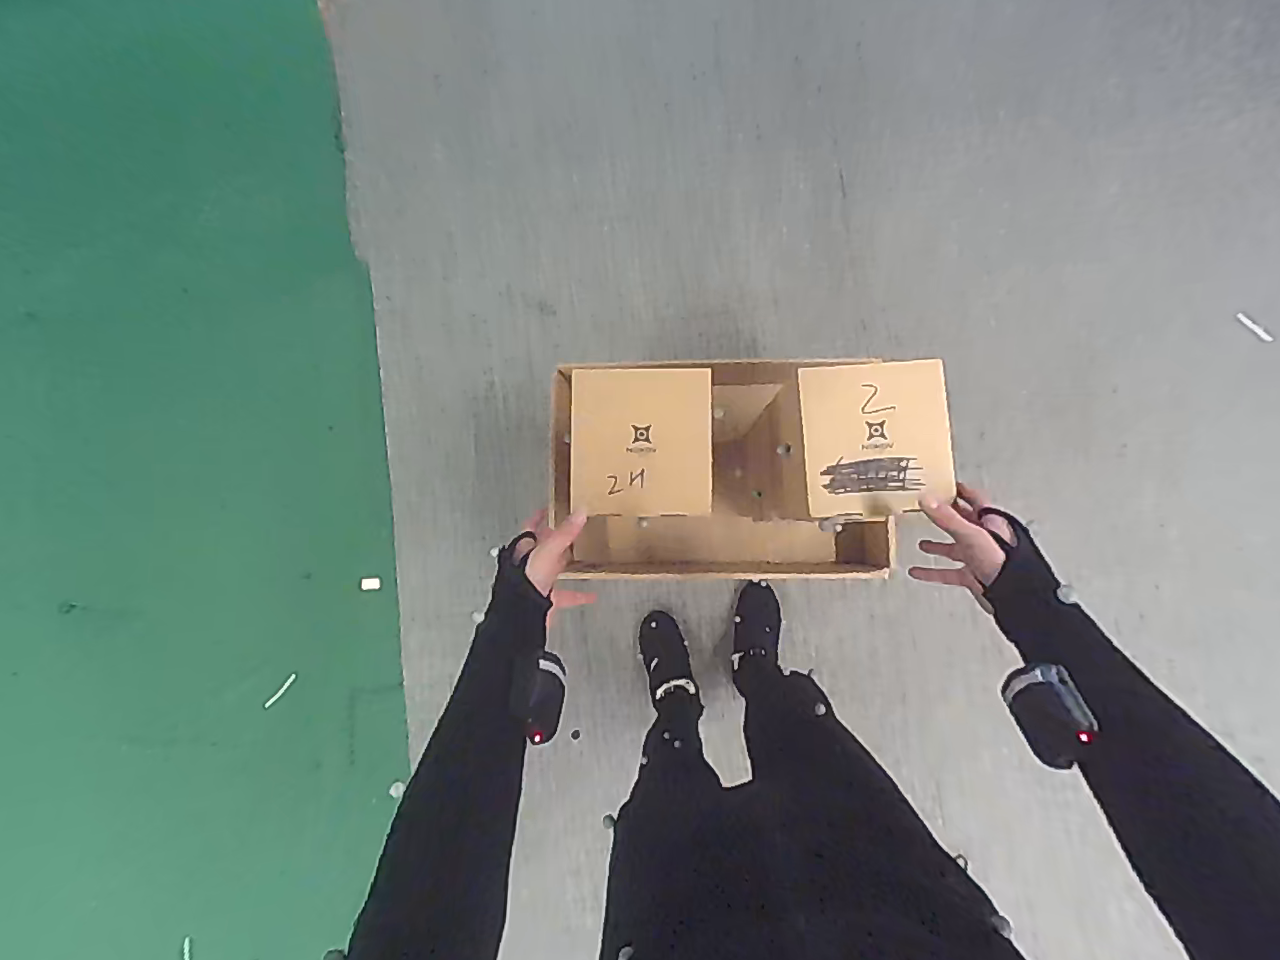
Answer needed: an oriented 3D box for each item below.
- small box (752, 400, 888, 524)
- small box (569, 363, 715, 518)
[{"bbox_3d":[0.271,-0.022,0.843,0.168,0.176,0.179,0,85,3],"label":"small box"},{"bbox_3d":[0.006,-0.042,0.697,0.168,0.176,0.179,1,86,3],"label":"small box"}]
